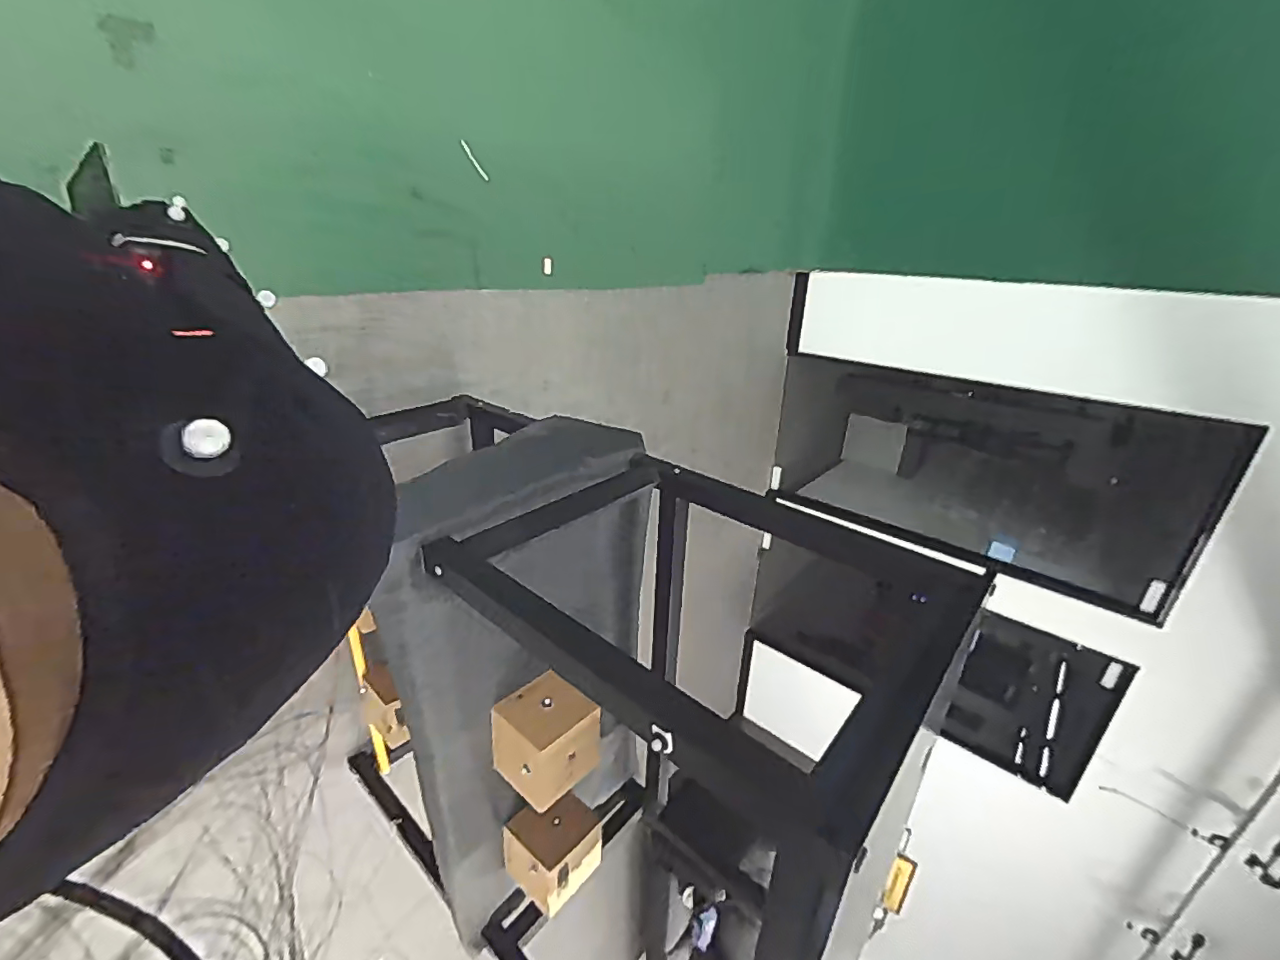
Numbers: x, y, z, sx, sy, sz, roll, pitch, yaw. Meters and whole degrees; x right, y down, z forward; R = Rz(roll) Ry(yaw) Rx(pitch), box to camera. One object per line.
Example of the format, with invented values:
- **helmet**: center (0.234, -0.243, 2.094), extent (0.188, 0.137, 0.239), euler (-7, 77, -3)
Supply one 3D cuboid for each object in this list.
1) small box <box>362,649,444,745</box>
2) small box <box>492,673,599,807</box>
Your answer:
- **small box**: center (-0.719, 0.647, 1.635), extent (0.179, 0.176, 0.168), euler (-20, 122, -46)
- **small box**: center (-0.208, 0.553, 1.184), extent (0.168, 0.176, 0.179), euler (-21, 122, -46)
